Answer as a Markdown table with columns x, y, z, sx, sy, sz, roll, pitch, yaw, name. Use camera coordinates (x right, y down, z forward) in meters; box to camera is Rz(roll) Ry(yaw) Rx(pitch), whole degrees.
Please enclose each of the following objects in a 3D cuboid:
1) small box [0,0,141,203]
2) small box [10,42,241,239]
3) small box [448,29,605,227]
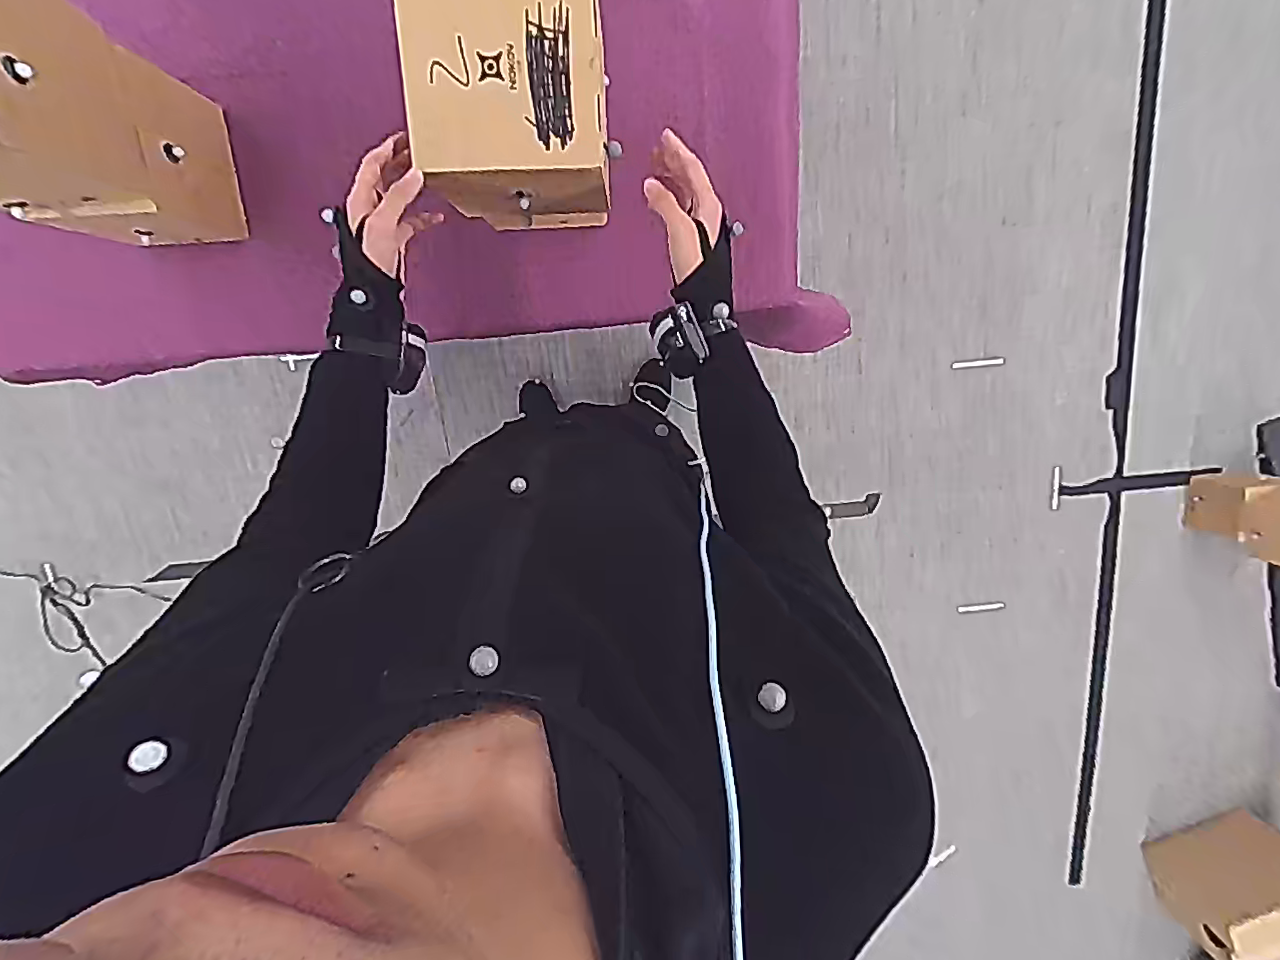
| x | y | z | sx | sy | sz | roll | pitch | yaw | name |
| --- | --- | --- | --- | --- | --- | --- | --- | --- | --- |
| -0.652 | -0.386 | 0.527 | 0.168 | 0.176 | 0.179 | -7 | 103 | -1 | small box |
| -0.654 | -0.413 | 0.689 | 0.168 | 0.176 | 0.179 | -3 | 104 | -2 | small box |
| -0.135 | -0.440 | 0.707 | 0.168 | 0.176 | 0.179 | -3 | 103 | -1 | small box |
